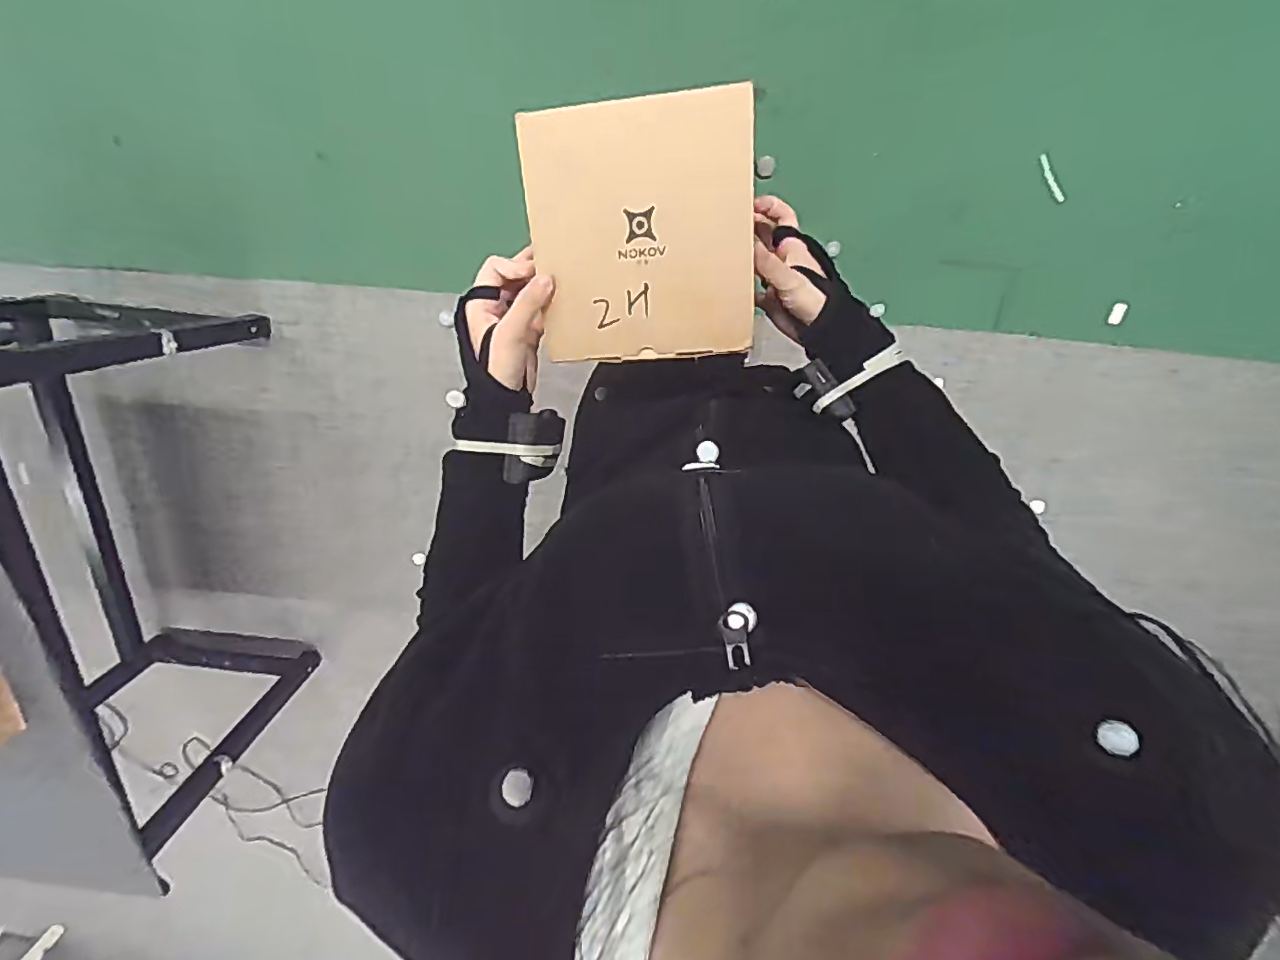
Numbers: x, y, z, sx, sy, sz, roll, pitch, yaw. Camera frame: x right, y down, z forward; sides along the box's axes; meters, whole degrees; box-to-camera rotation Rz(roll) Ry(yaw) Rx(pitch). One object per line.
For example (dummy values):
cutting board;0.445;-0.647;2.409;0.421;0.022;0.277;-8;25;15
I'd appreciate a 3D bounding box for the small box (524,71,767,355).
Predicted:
small box;0.015;-0.207;0.458;0.168;0.176;0.179;-1;110;8
